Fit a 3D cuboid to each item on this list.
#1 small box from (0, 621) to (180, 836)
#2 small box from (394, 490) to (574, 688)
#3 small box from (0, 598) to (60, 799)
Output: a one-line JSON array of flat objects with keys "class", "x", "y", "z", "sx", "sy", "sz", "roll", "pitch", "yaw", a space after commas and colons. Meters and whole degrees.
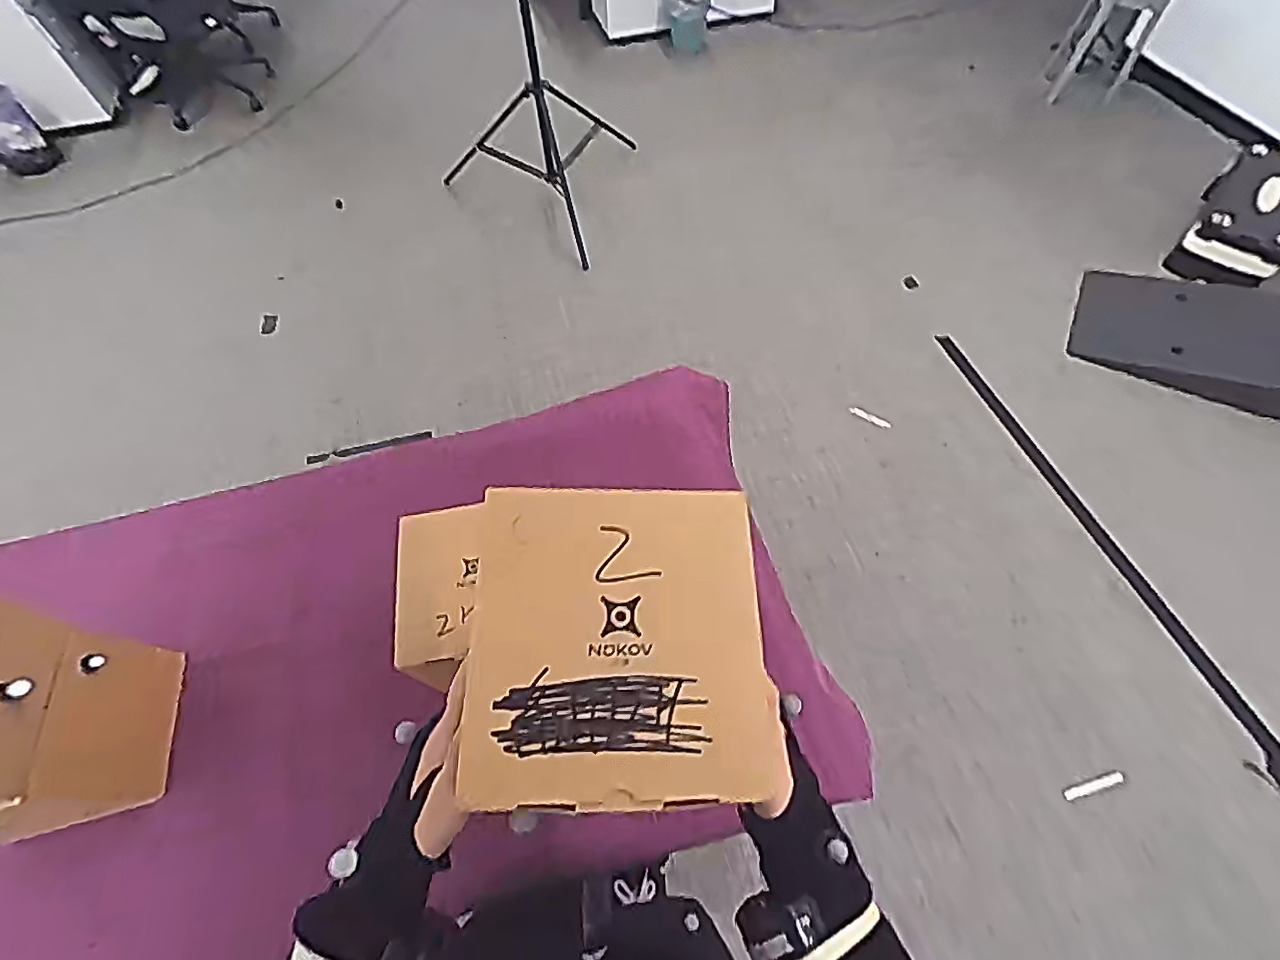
[{"class": "small box", "x": -0.660, "y": 0.279, "z": 0.595, "sx": 0.168, "sy": 0.176, "sz": 0.179, "roll": -14, "pitch": 60, "yaw": -6}, {"class": "small box", "x": -0.180, "y": 0.138, "z": 0.661, "sx": 0.168, "sy": 0.176, "sz": 0.179, "roll": -11, "pitch": 60, "yaw": -3}, {"class": "small box", "x": -0.666, "y": 0.192, "z": 0.456, "sx": 0.168, "sy": 0.176, "sz": 0.179, "roll": -15, "pitch": 60, "yaw": -6}]
